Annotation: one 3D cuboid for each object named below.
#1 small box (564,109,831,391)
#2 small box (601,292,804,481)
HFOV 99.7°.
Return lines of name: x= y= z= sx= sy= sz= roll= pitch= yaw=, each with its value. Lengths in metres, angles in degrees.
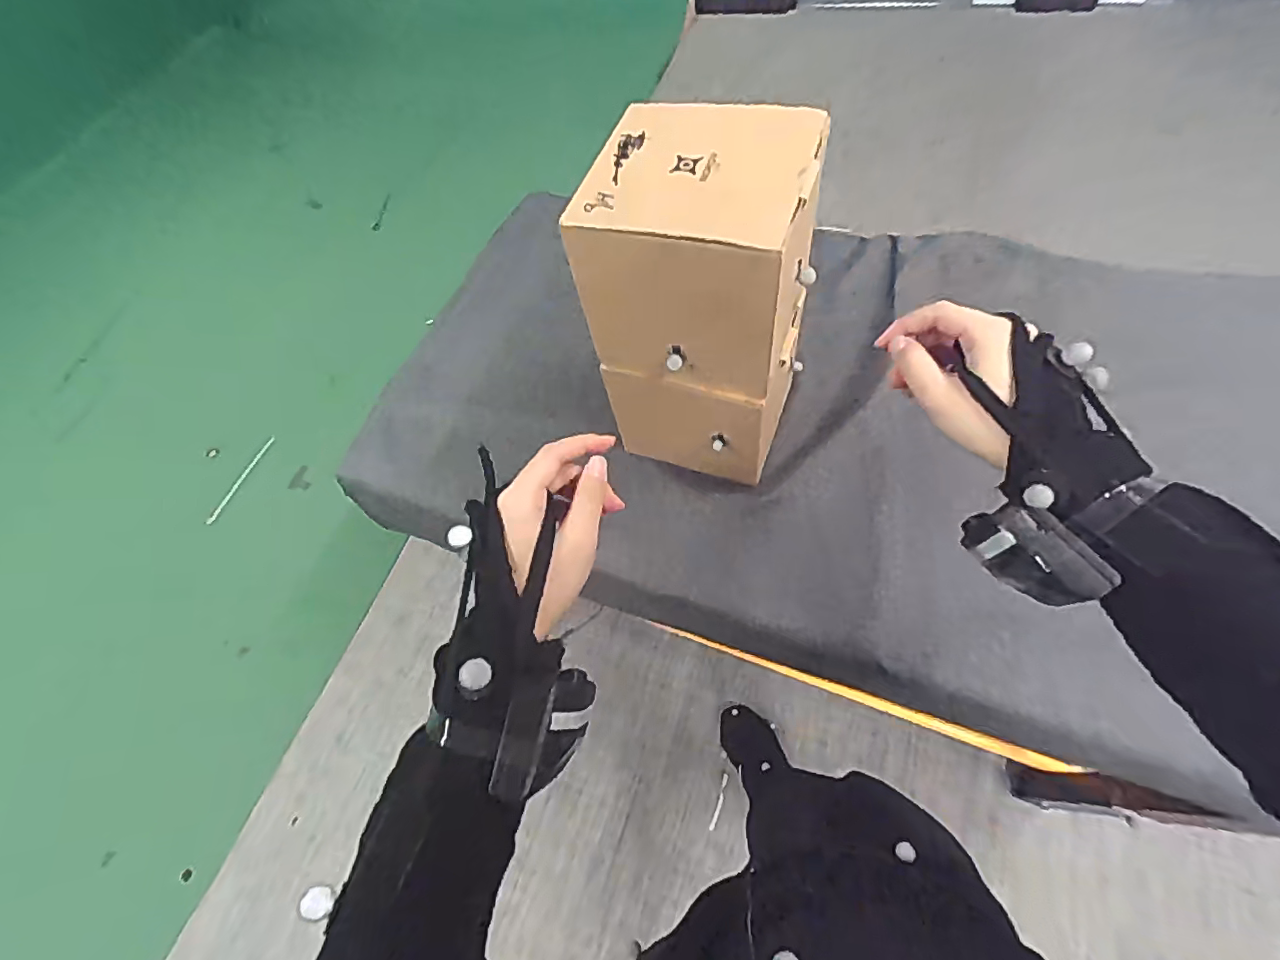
small box: x=0.058 y=-0.204 z=0.500 sx=0.179 sy=0.176 sz=0.168 roll=15 pitch=64 yaw=16
small box: x=0.078 y=-0.118 z=0.639 sx=0.179 sy=0.176 sz=0.168 roll=16 pitch=64 yaw=17
